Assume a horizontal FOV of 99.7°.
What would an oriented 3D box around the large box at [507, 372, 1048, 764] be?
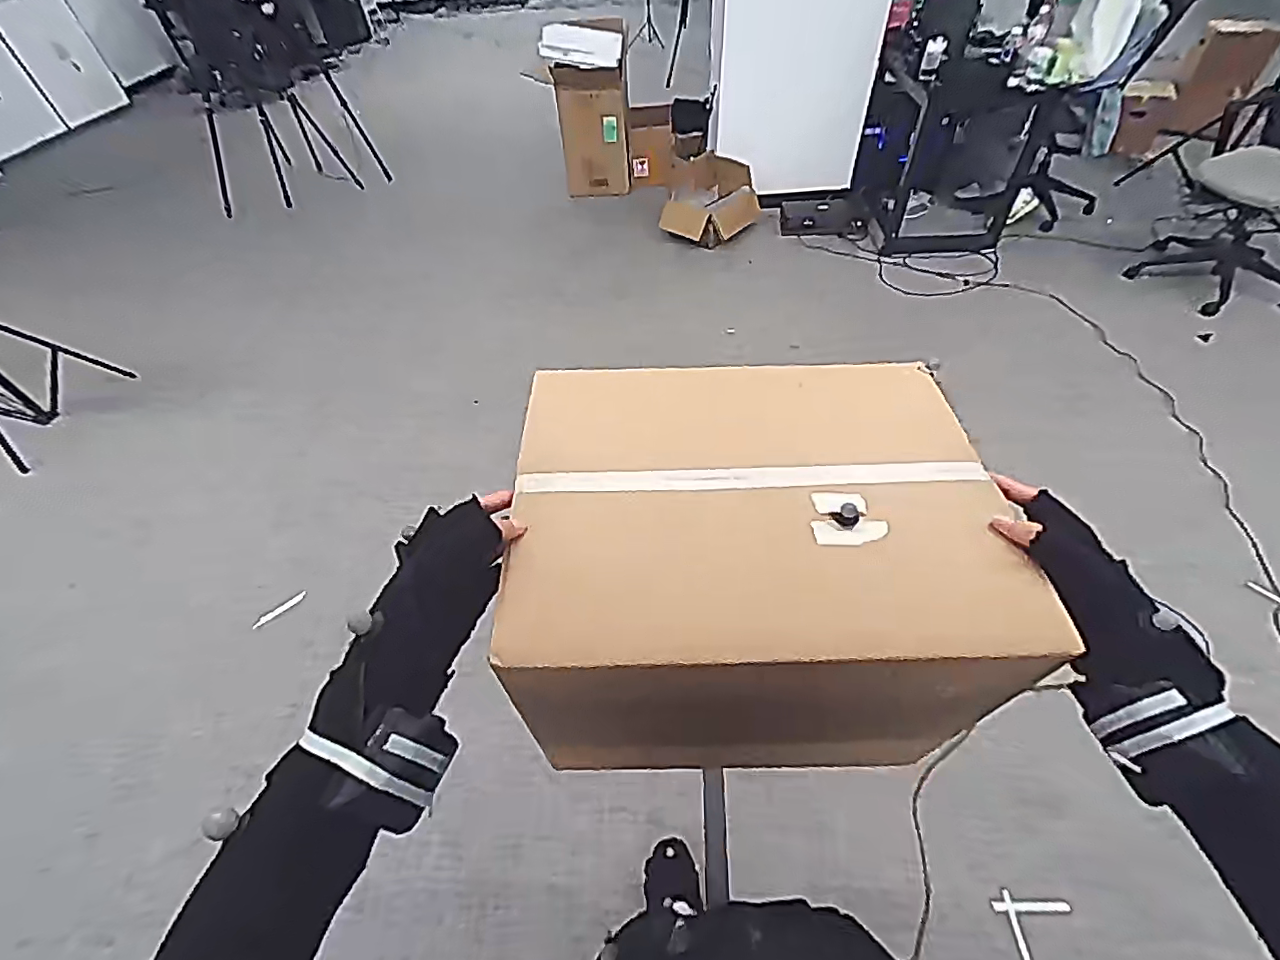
[{"bbox_3d":[0.095,0.102,0.596,0.408,0.320,0.320,-1,51,-1],"label":"large box"}]
